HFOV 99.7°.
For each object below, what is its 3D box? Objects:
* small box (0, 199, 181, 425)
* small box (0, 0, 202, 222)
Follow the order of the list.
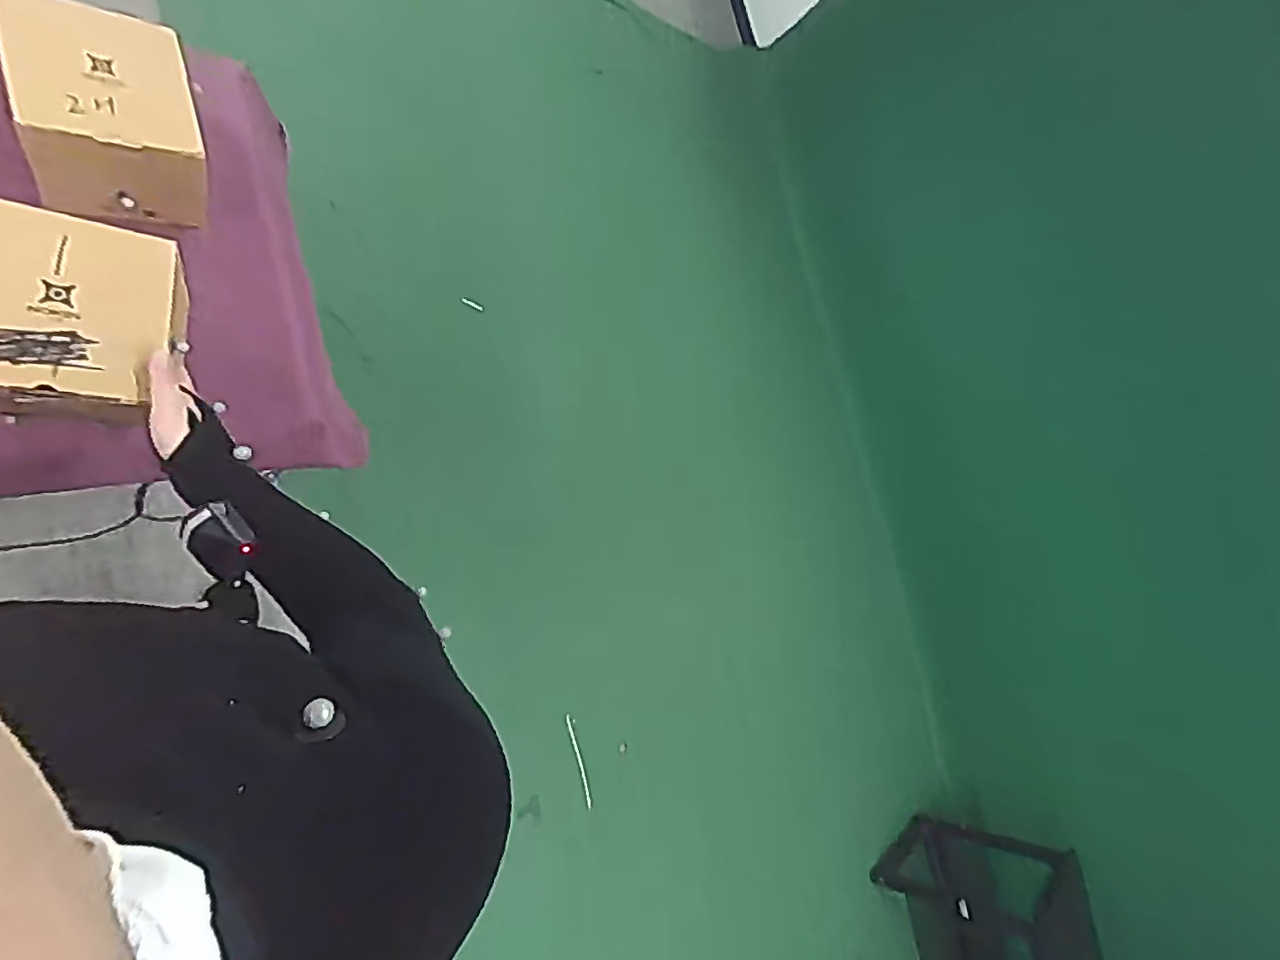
[{"bbox_3d":[-0.599,-0.160,0.566,0.168,0.176,0.179,5,82,-37],"label":"small box"},{"bbox_3d":[-0.690,-0.470,0.698,0.168,0.176,0.179,-13,89,-41],"label":"small box"}]
